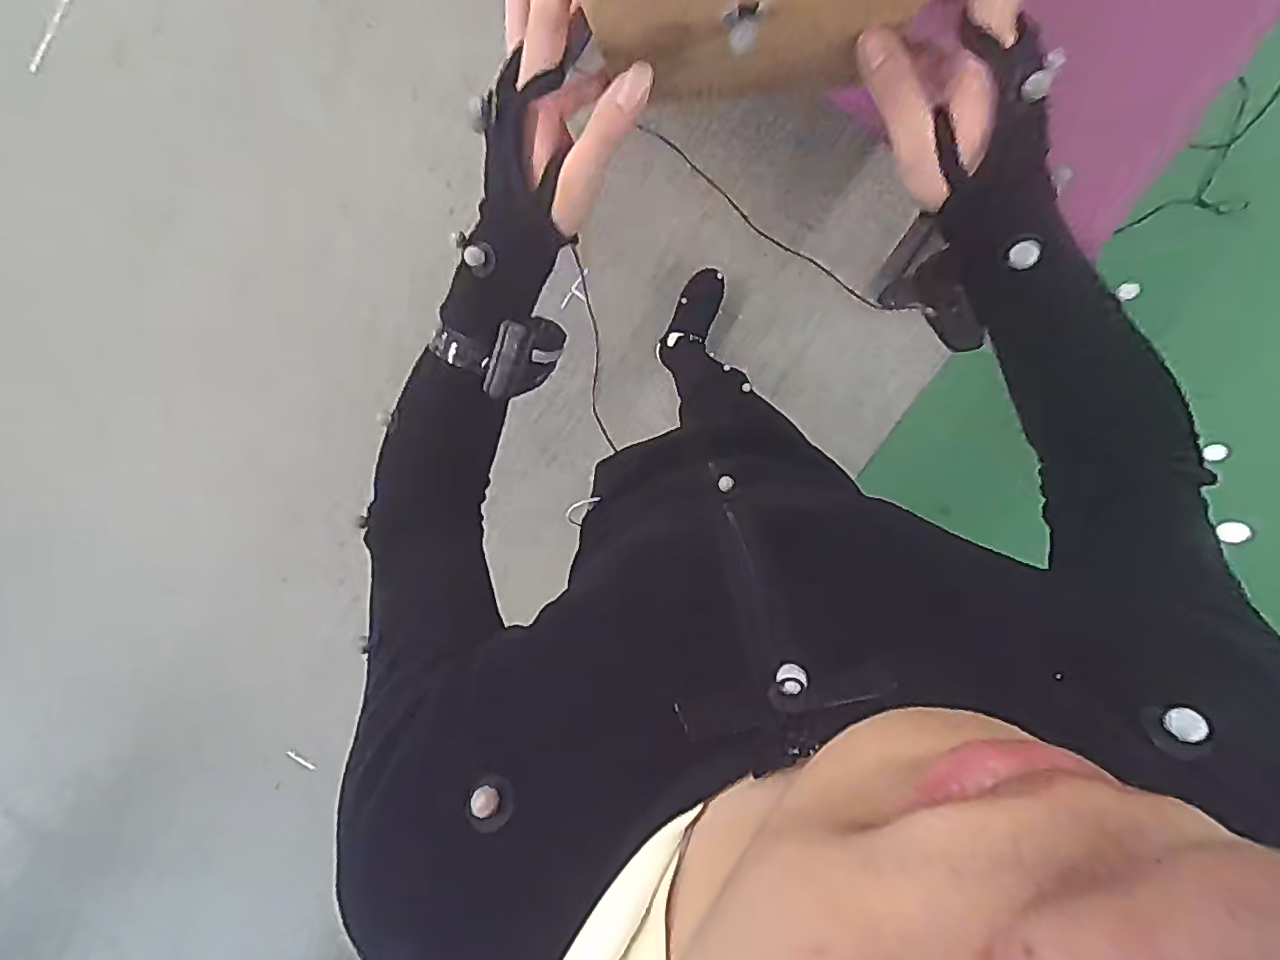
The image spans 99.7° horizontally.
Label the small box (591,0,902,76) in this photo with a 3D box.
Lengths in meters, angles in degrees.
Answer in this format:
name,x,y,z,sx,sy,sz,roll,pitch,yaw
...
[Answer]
name,x,y,z,sx,sy,sz,roll,pitch,yaw
small box,0.060,-0.335,0.273,0.179,0.176,0.168,0,110,7
